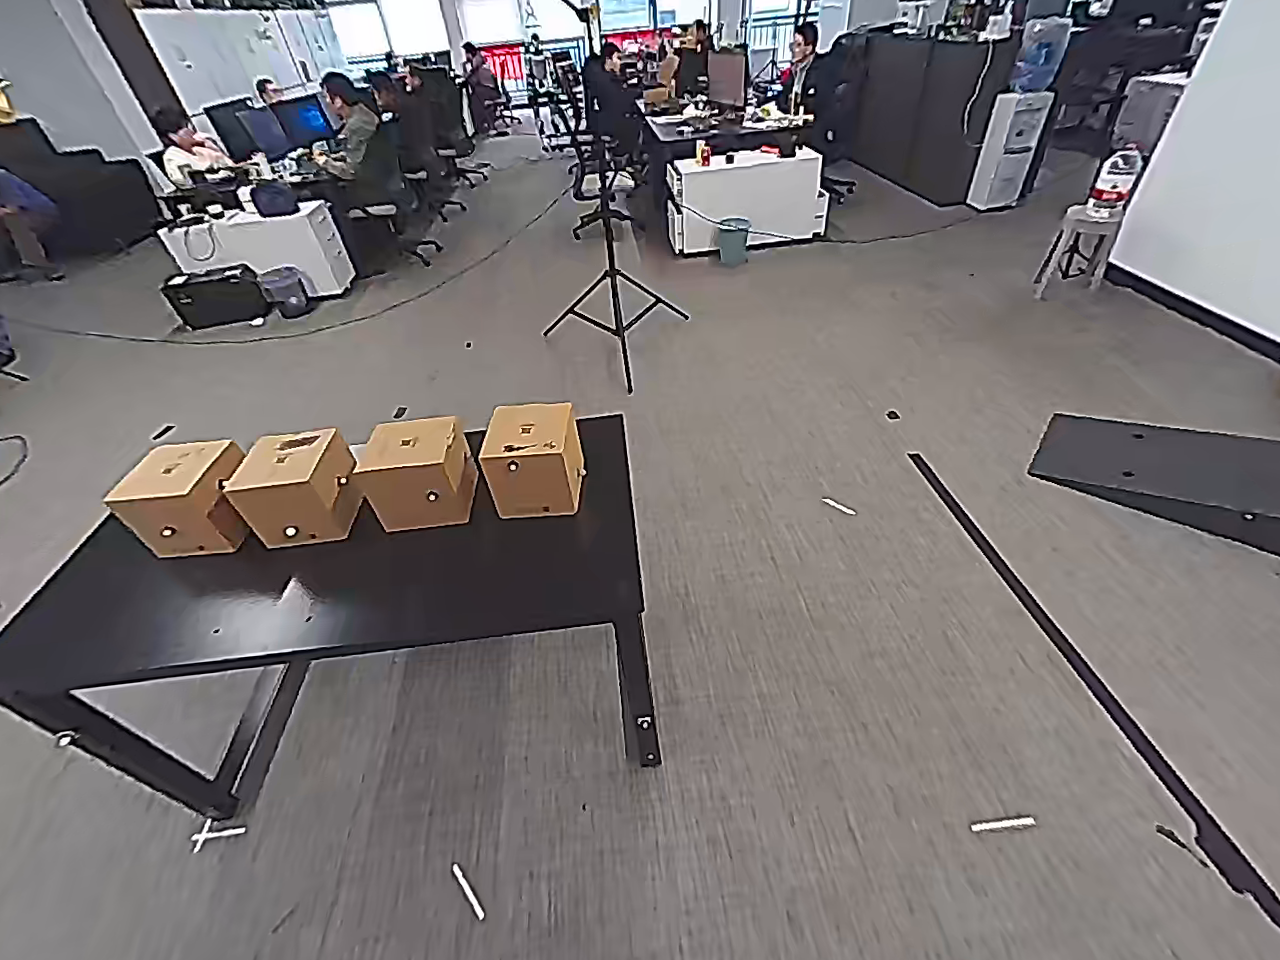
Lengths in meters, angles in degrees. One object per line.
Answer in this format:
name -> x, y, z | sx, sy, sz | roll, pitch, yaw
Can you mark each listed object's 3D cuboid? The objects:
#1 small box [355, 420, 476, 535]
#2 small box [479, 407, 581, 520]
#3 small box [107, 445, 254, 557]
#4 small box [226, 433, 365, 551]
small box -> -0.461, -0.005, 1.146 | 0.179, 0.176, 0.168 | -8, 40, 0
small box -> -0.221, -0.035, 1.147 | 0.168, 0.176, 0.179 | -4, 40, 4
small box -> -0.931, 0.048, 1.140 | 0.168, 0.176, 0.179 | -4, 41, 1
small box -> -0.708, 0.025, 1.138 | 0.168, 0.176, 0.179 | -8, 42, -2
